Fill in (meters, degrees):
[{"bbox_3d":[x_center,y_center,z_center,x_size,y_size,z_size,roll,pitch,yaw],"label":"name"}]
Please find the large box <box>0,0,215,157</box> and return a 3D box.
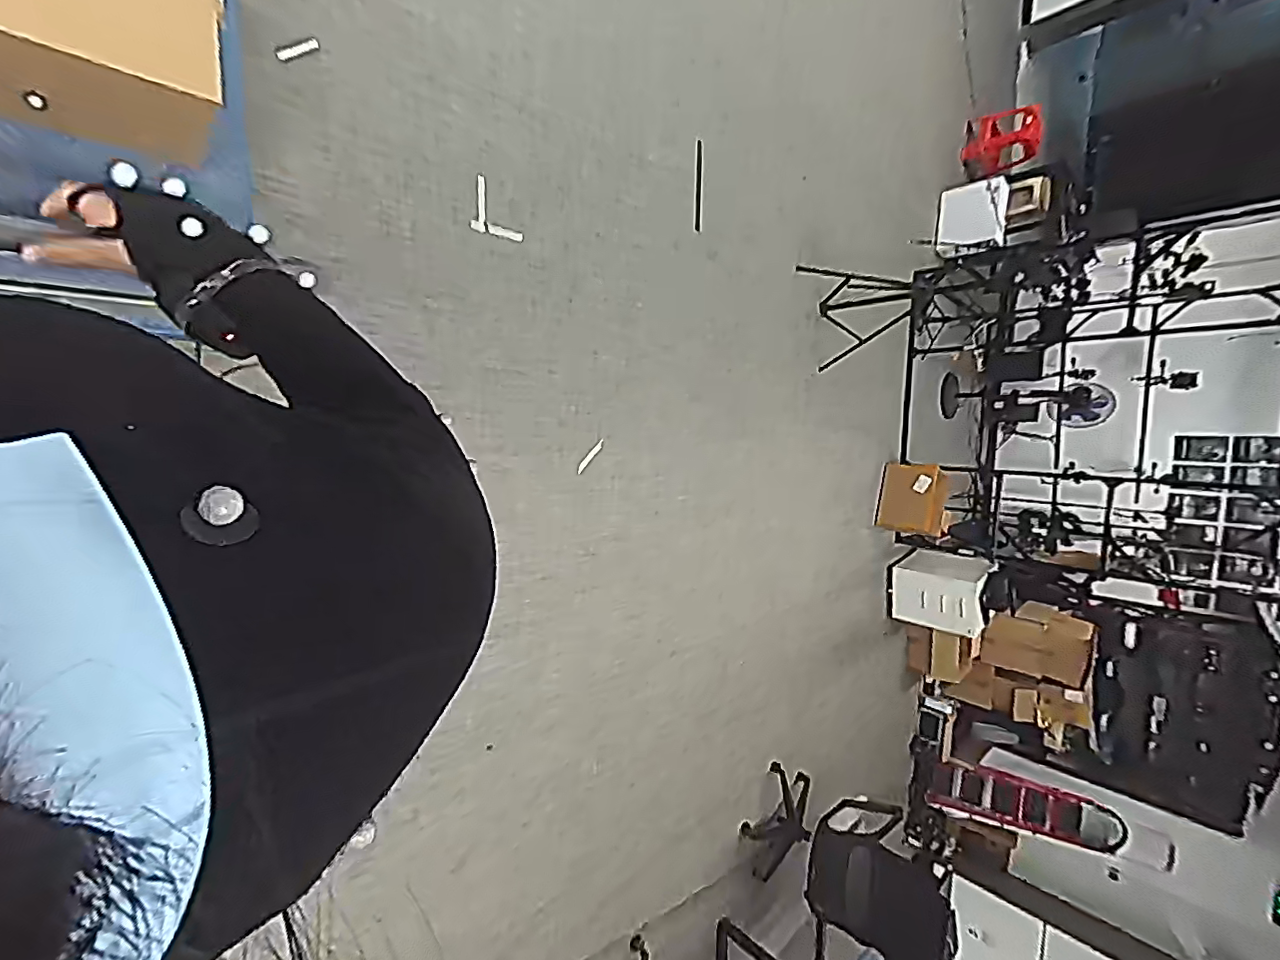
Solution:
[{"bbox_3d":[-0.882,-0.726,0.765,0.408,0.320,0.320,-5,98,-44],"label":"large box"}]
